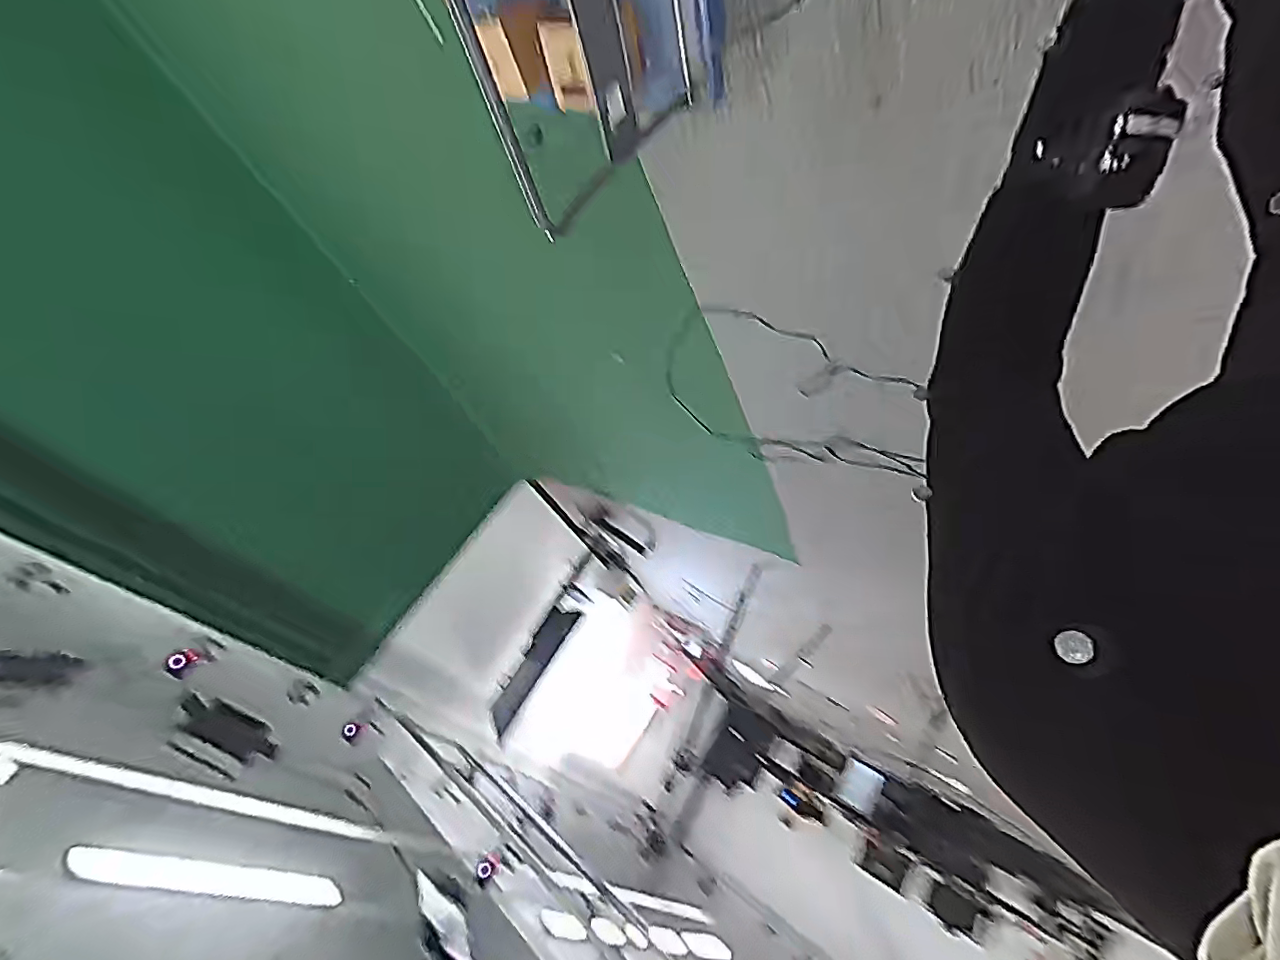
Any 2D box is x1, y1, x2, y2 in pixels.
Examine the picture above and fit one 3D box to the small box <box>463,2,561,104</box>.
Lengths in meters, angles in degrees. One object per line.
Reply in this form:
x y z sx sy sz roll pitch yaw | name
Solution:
-0.338 -1.164 1.478 0.179 0.176 0.168 20 153 32 | small box
